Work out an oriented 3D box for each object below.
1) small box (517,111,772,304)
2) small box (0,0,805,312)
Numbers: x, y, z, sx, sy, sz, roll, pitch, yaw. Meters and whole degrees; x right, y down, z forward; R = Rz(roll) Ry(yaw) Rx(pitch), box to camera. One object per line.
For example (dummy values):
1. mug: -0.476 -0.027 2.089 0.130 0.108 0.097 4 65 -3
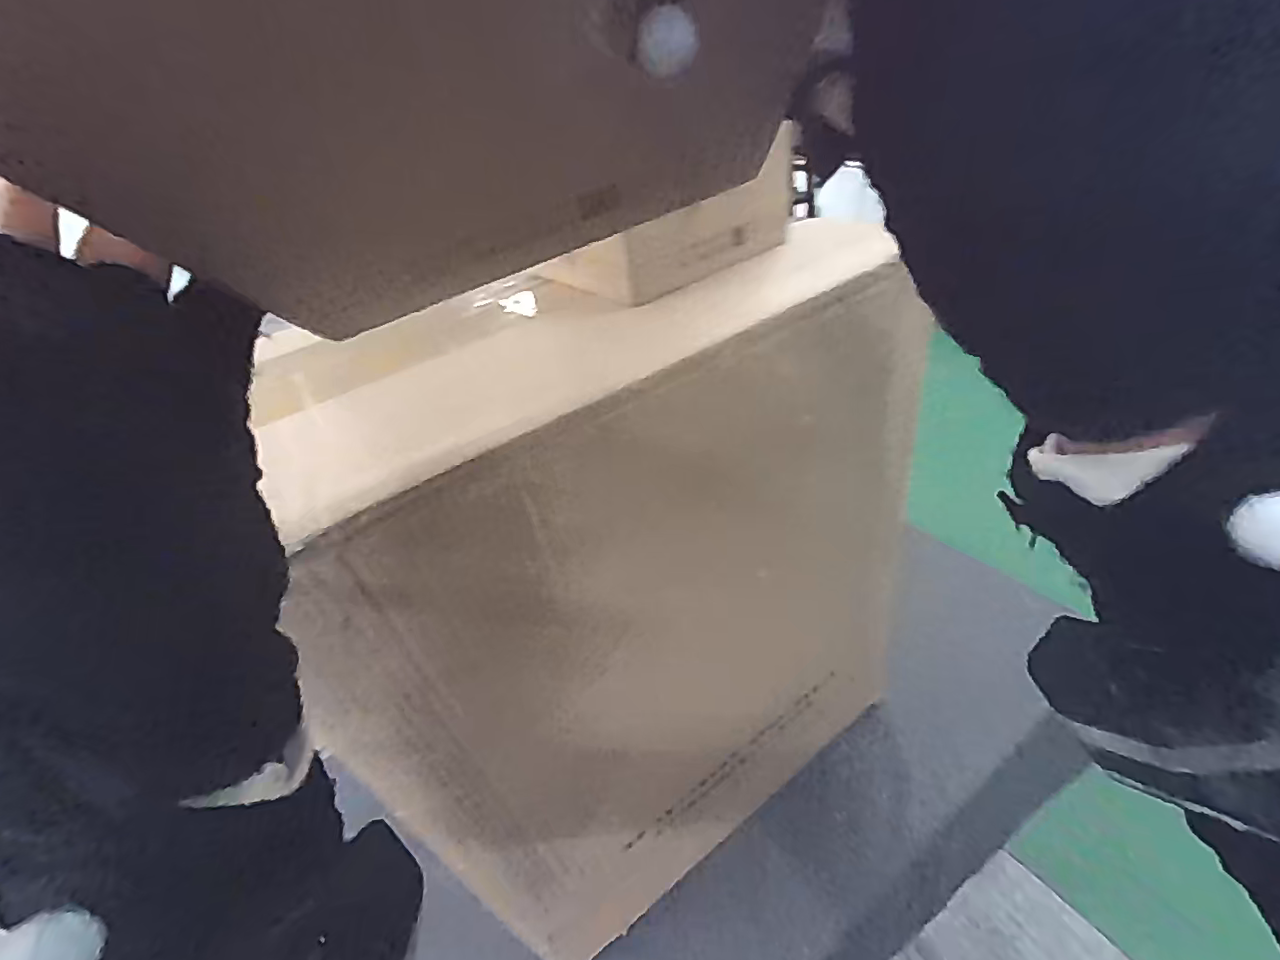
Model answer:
1. small box: -0.010 -0.257 0.430 0.168 0.176 0.179 -32 43 -24
2. small box: -0.064 -0.151 0.103 0.168 0.179 0.176 -25 1 1
